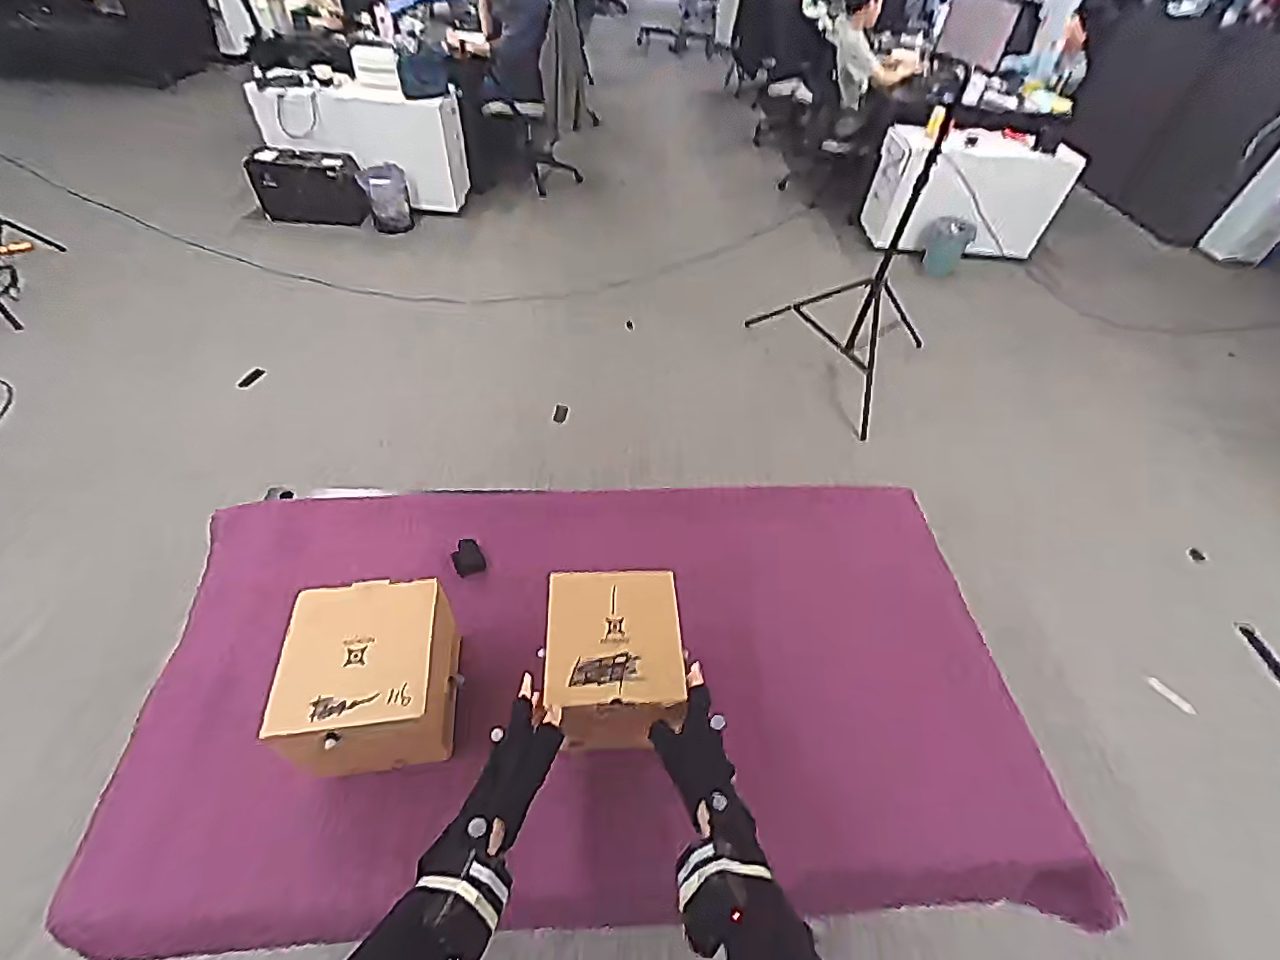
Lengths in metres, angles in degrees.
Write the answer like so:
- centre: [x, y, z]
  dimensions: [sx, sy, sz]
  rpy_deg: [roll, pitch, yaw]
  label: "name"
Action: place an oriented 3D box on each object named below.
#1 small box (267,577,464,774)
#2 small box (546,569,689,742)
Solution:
- centre: [-0.325, 0.247, 0.686]
  dimensions: [0.168, 0.176, 0.179]
  rpy_deg: [-4, 48, -8]
  label: "small box"
- centre: [-0.033, 0.238, 0.724]
  dimensions: [0.168, 0.176, 0.179]
  rpy_deg: [1, 47, -6]
  label: "small box"
